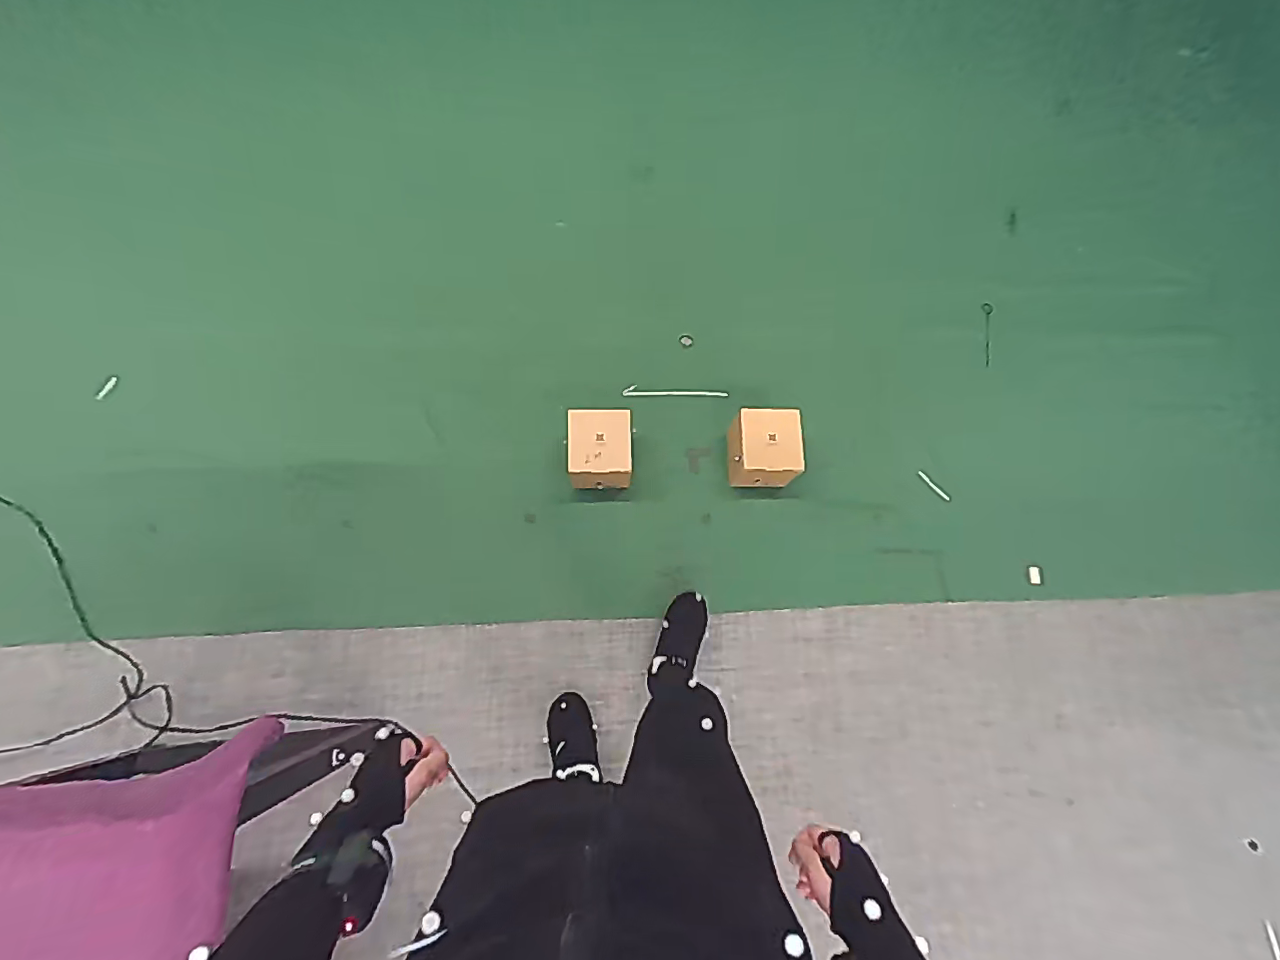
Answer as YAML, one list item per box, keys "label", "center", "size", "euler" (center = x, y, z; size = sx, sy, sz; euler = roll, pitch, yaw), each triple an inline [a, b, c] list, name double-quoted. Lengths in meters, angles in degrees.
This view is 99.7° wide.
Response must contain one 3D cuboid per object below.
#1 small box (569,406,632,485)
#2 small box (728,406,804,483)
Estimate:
- label: "small box"
  center: [-0.108, -0.091, 1.487]
  size: [0.168, 0.176, 0.179]
  euler: [-1, 76, -3]
- label: "small box"
  center: [0.348, -0.096, 1.522]
  size: [0.168, 0.176, 0.179]
  euler: [0, 76, -4]
